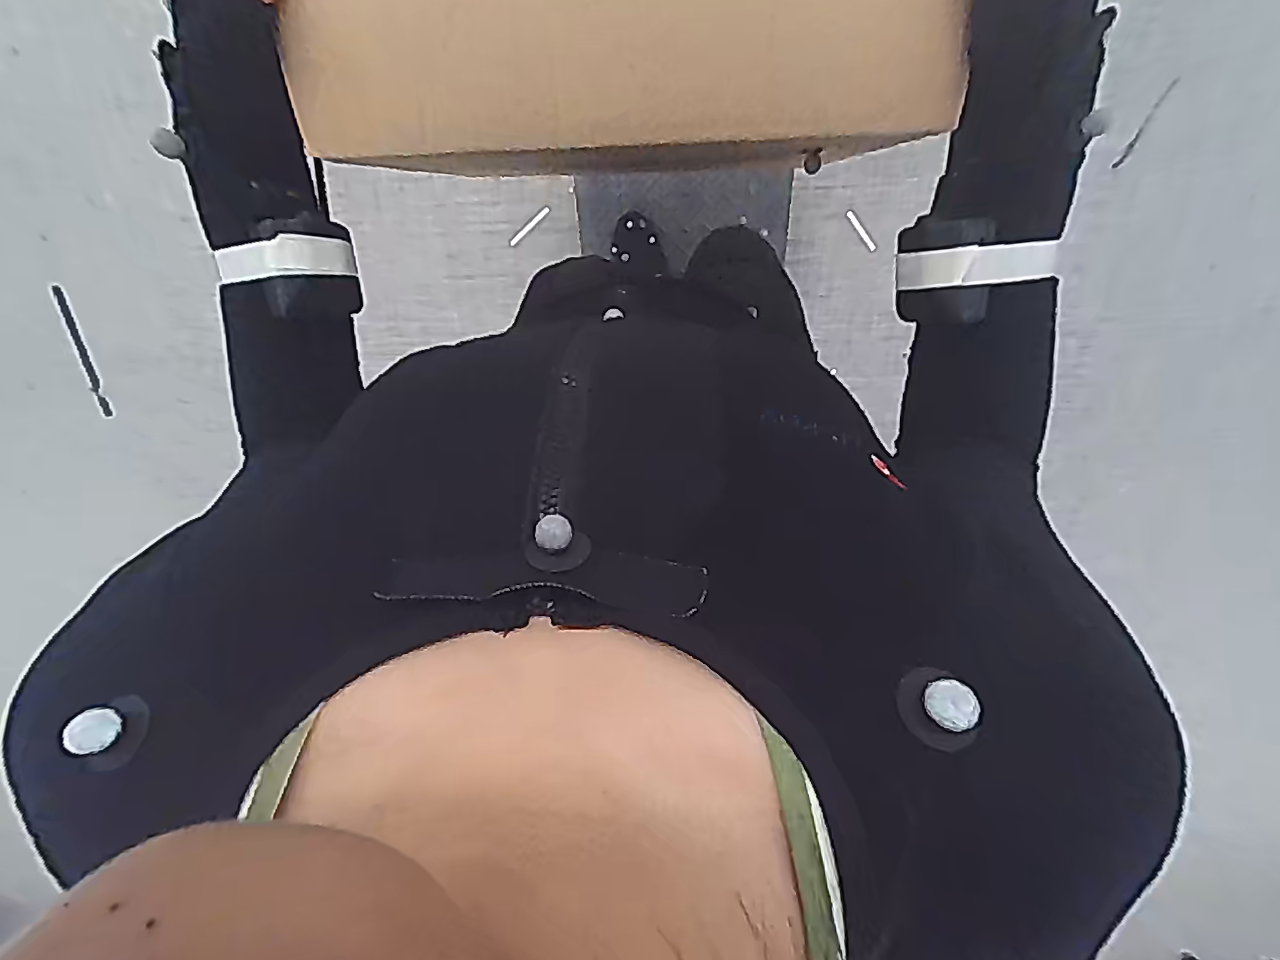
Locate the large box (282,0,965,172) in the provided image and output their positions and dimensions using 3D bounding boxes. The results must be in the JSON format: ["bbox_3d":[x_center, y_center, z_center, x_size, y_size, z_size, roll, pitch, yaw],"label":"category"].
[{"bbox_3d":[-0.008,-0.420,0.407,0.408,0.320,0.320,0,117,3],"label":"large box"}]
